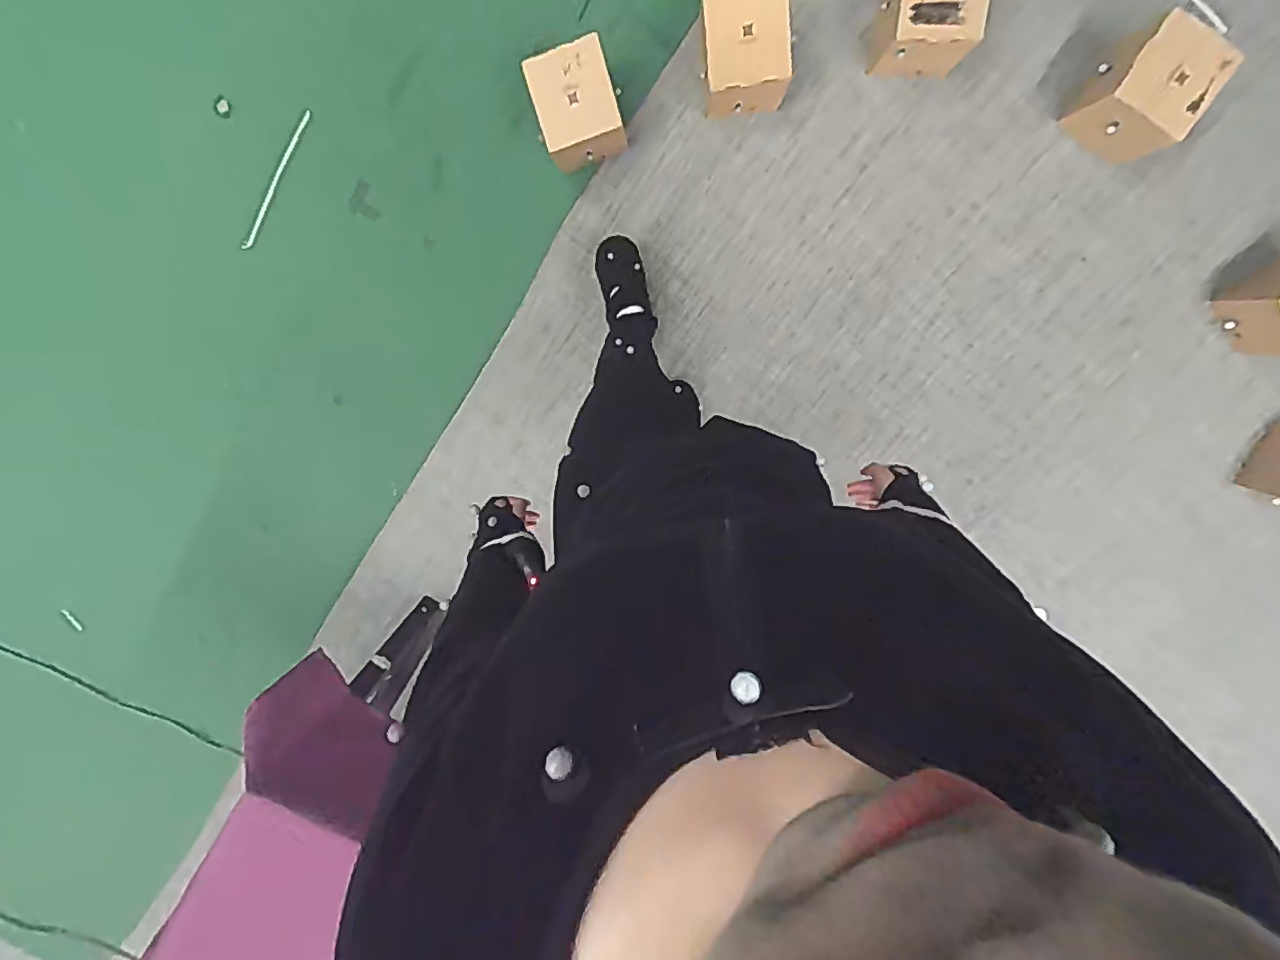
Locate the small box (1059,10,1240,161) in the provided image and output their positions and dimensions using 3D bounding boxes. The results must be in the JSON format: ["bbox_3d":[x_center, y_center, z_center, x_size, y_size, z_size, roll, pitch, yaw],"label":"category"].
[{"bbox_3d":[1.036,-0.799,1.121,0.179,0.176,0.168,29,106,-4],"label":"small box"}]

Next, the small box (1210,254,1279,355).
[{"bbox_3d":[1.473,-0.399,1.215,0.179,0.176,0.168,-39,100,13],"label":"small box"}]

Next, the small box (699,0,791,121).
[{"bbox_3d":[0.217,-0.897,1.144,0.168,0.176,0.179,-6,106,5],"label":"small box"}]

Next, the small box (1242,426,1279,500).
[{"bbox_3d":[1.657,-0.021,1.316,0.168,0.176,0.179,18,107,-1],"label":"small box"}]

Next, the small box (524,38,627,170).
[{"bbox_3d":[-0.132,-0.808,1.188,0.168,0.176,0.179,-16,104,7],"label":"small box"}]
